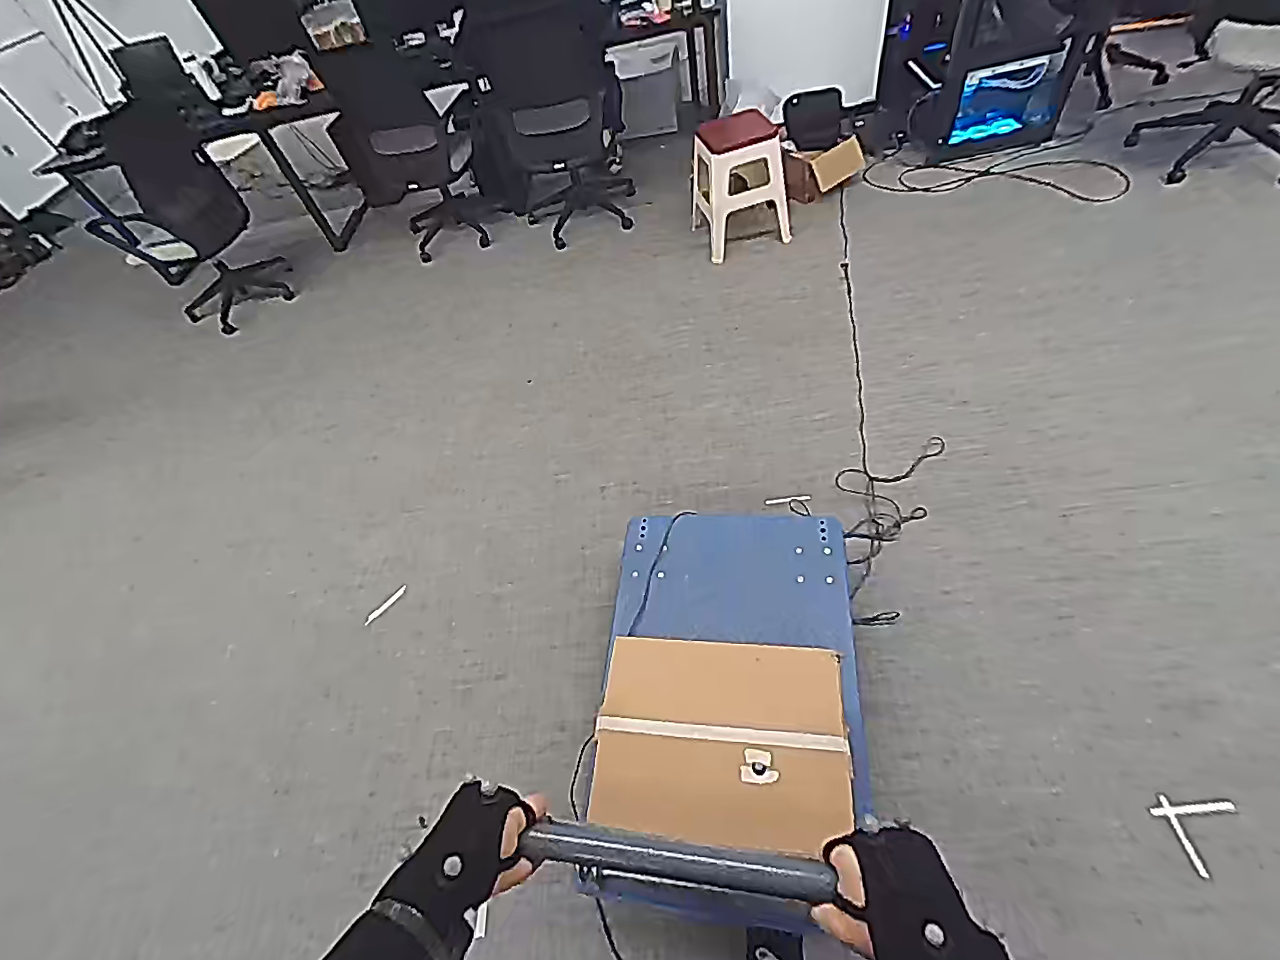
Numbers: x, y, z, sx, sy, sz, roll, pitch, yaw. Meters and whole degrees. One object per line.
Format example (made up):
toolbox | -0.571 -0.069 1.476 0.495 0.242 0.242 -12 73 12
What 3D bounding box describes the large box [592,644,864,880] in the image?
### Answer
large box | 0.157 0.515 0.990 0.408 0.320 0.320 0 53 12
